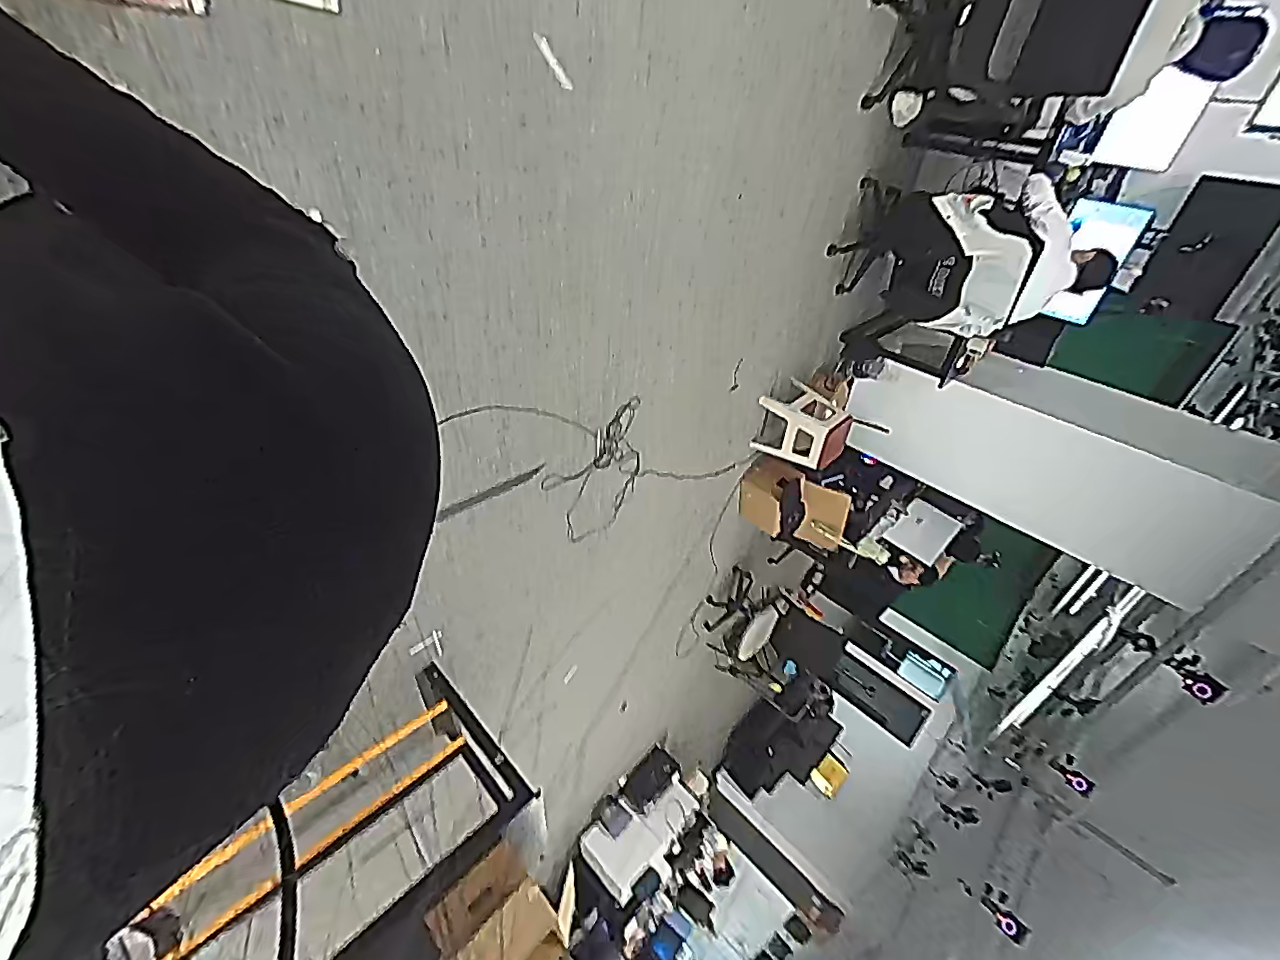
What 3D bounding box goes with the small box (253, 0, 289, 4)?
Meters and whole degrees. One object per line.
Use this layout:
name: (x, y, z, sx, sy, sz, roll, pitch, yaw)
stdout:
small box: (-0.402, -0.498, 0.408, 0.168, 0.176, 0.179, -26, 139, -43)
